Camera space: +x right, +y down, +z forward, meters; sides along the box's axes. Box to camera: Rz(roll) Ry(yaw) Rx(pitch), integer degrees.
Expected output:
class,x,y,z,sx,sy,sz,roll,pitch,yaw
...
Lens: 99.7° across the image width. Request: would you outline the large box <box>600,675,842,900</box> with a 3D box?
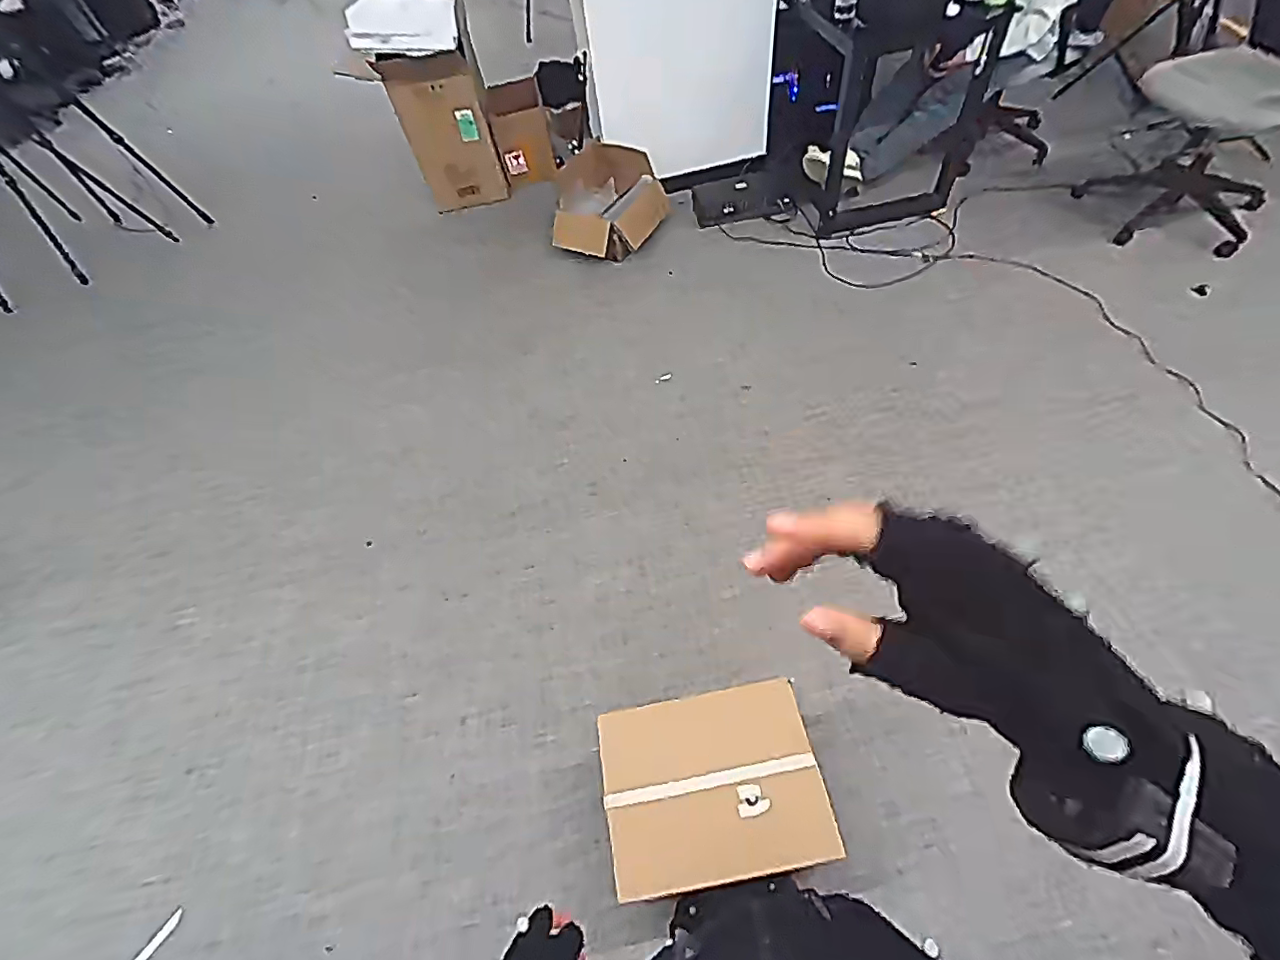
class,x,y,z,sx,sy,sz,roll,pitch,yaw
large box,0.151,0.652,1.147,0.408,0.320,0.320,-11,55,-1
